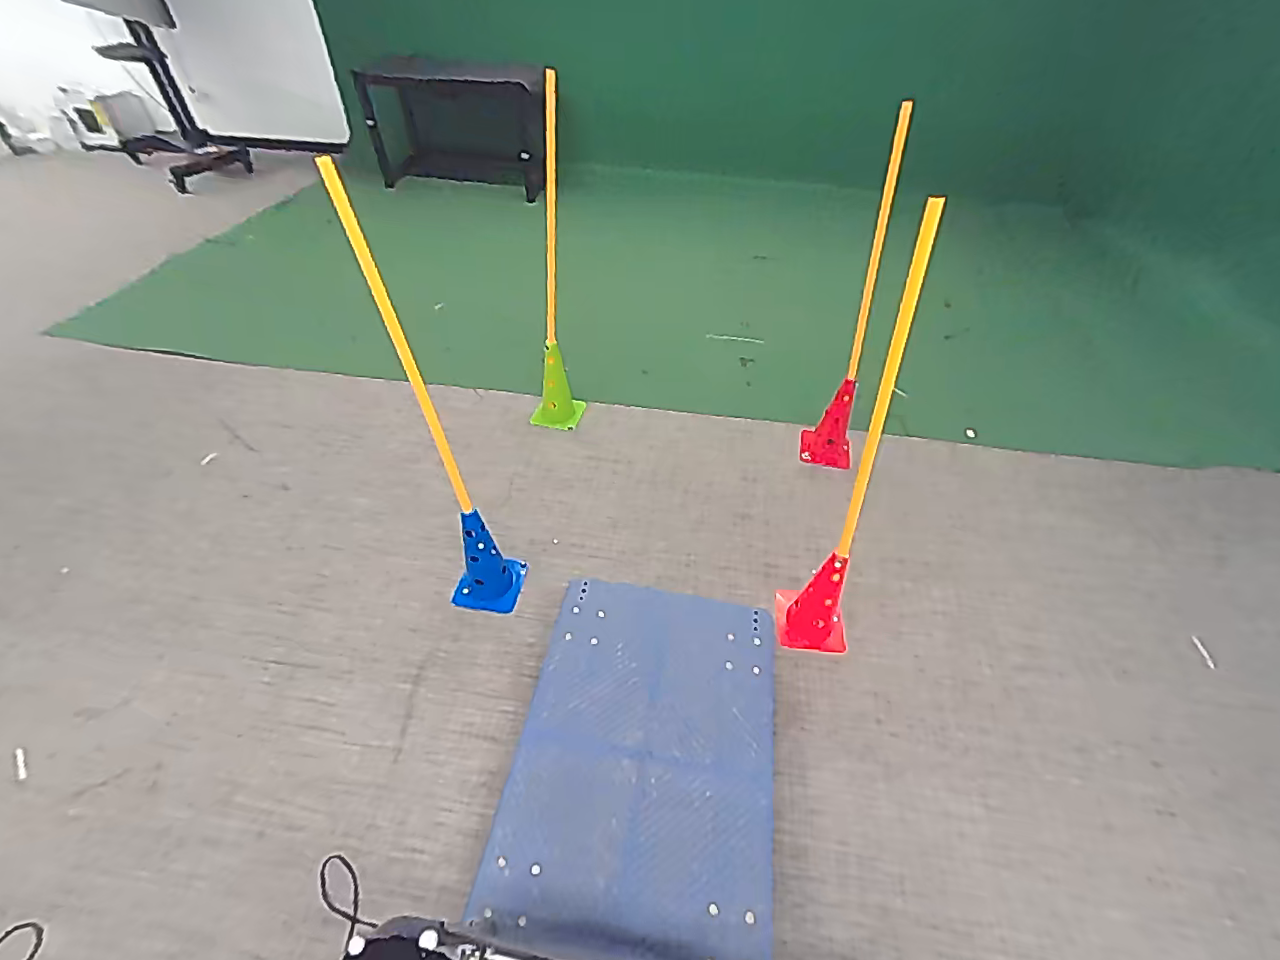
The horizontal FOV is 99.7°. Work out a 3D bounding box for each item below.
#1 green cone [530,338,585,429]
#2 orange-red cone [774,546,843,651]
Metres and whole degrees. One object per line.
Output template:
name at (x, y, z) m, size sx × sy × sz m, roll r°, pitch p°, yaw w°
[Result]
green cone at (-0.354, -0.416, 2.228) m, size 0.202 × 0.368 × 0.200 m, roll 10°, pitch 46°, yaw 8°
orange-red cone at (0.520, 0.314, 1.561) m, size 0.199 × 0.360 × 0.198 m, roll 5°, pitch 45°, yaw 5°
